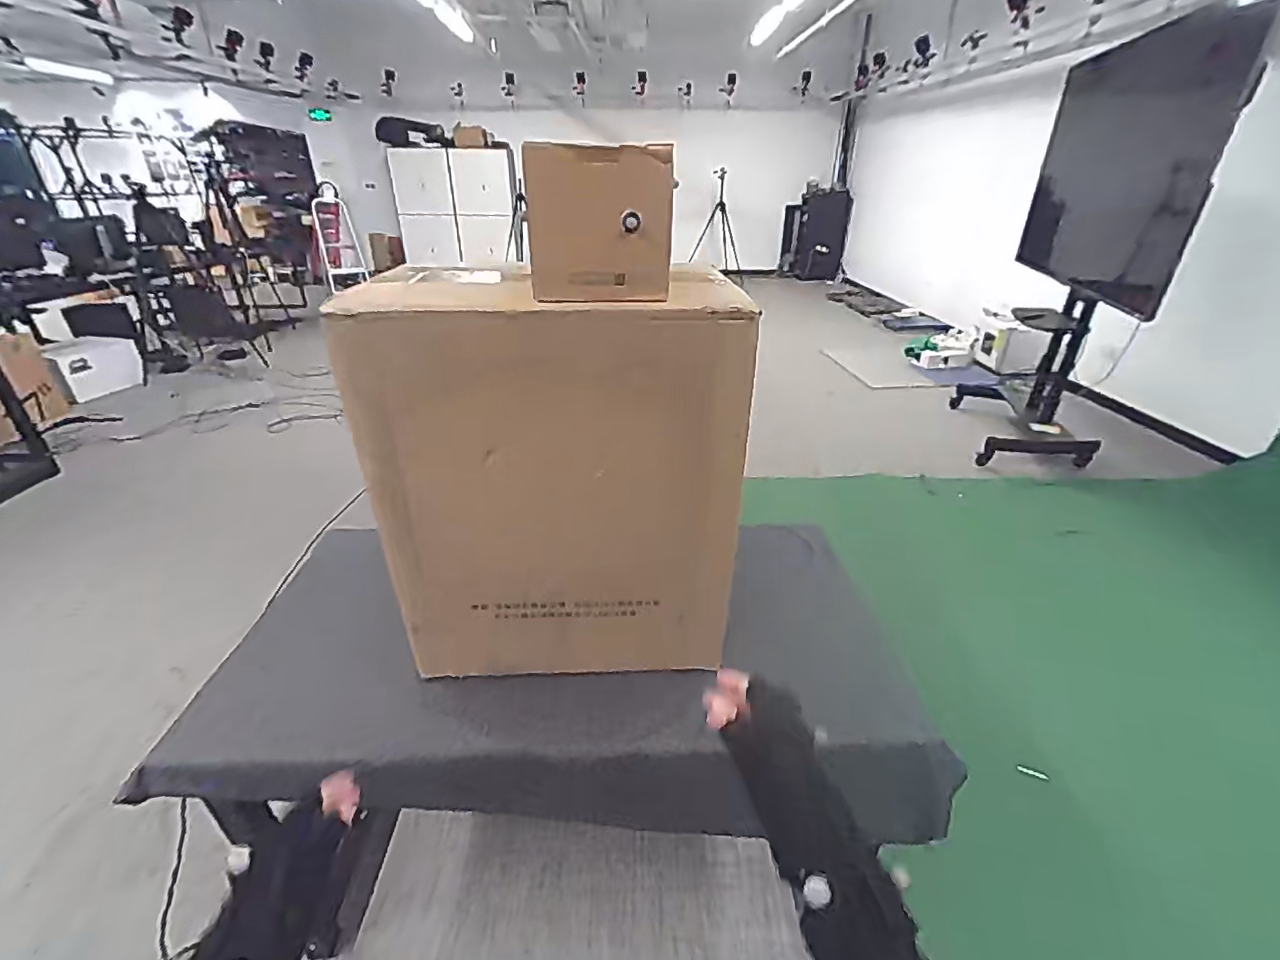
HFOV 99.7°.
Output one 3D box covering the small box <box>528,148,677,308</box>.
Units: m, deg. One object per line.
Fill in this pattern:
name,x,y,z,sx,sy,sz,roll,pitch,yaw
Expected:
small box,-0.043,-0.323,0.692,0.168,0.176,0.179,1,30,-3
